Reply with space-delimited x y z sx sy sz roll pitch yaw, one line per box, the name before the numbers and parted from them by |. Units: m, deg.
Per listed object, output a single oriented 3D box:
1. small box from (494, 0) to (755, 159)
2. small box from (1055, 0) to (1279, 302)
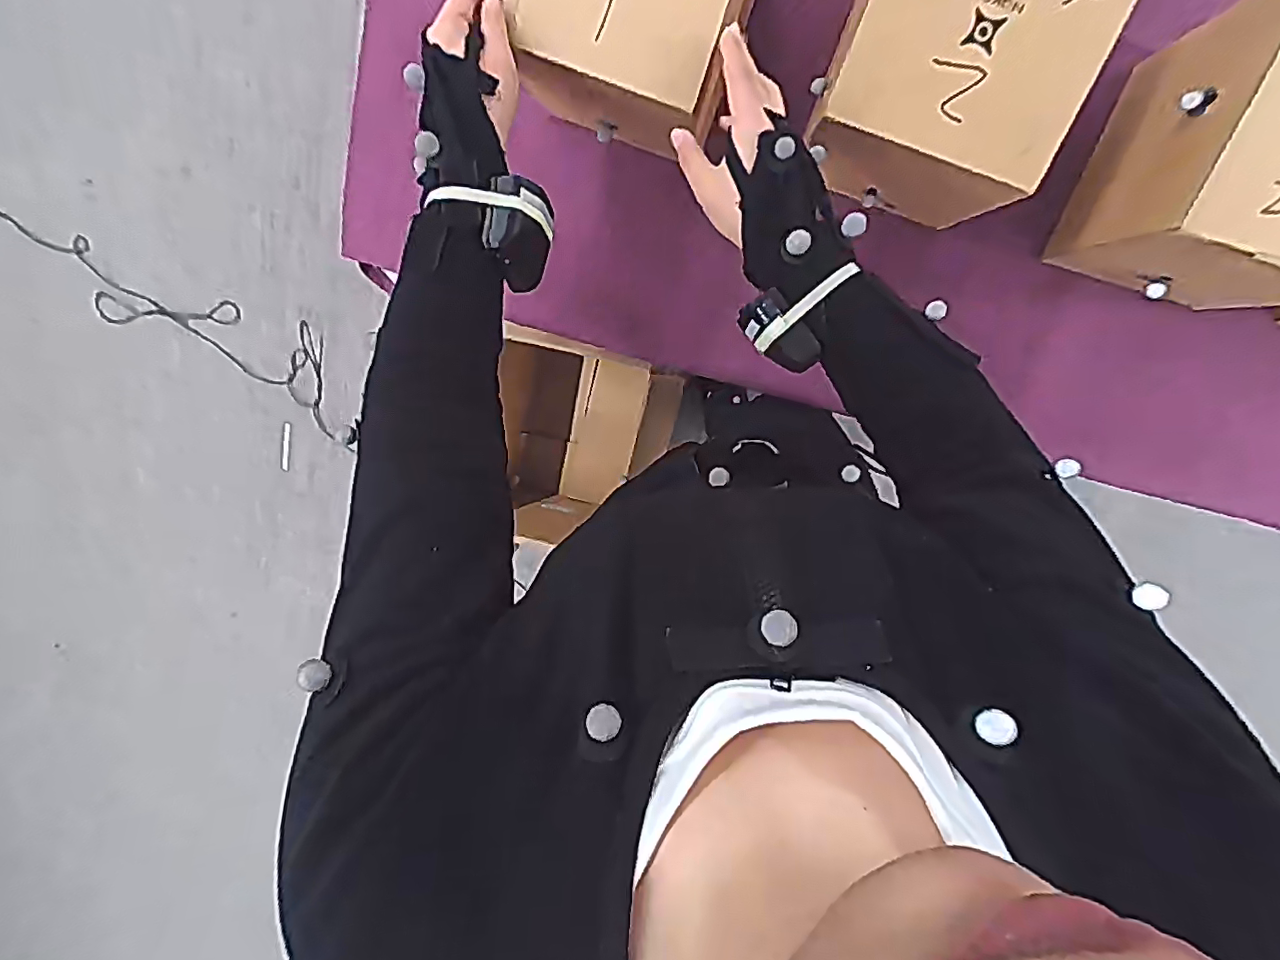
small box | 0.004 -0.405 0.449 0.168 0.176 0.179 21 109 0
small box | 0.495 -0.258 0.438 0.168 0.176 0.179 19 107 1
